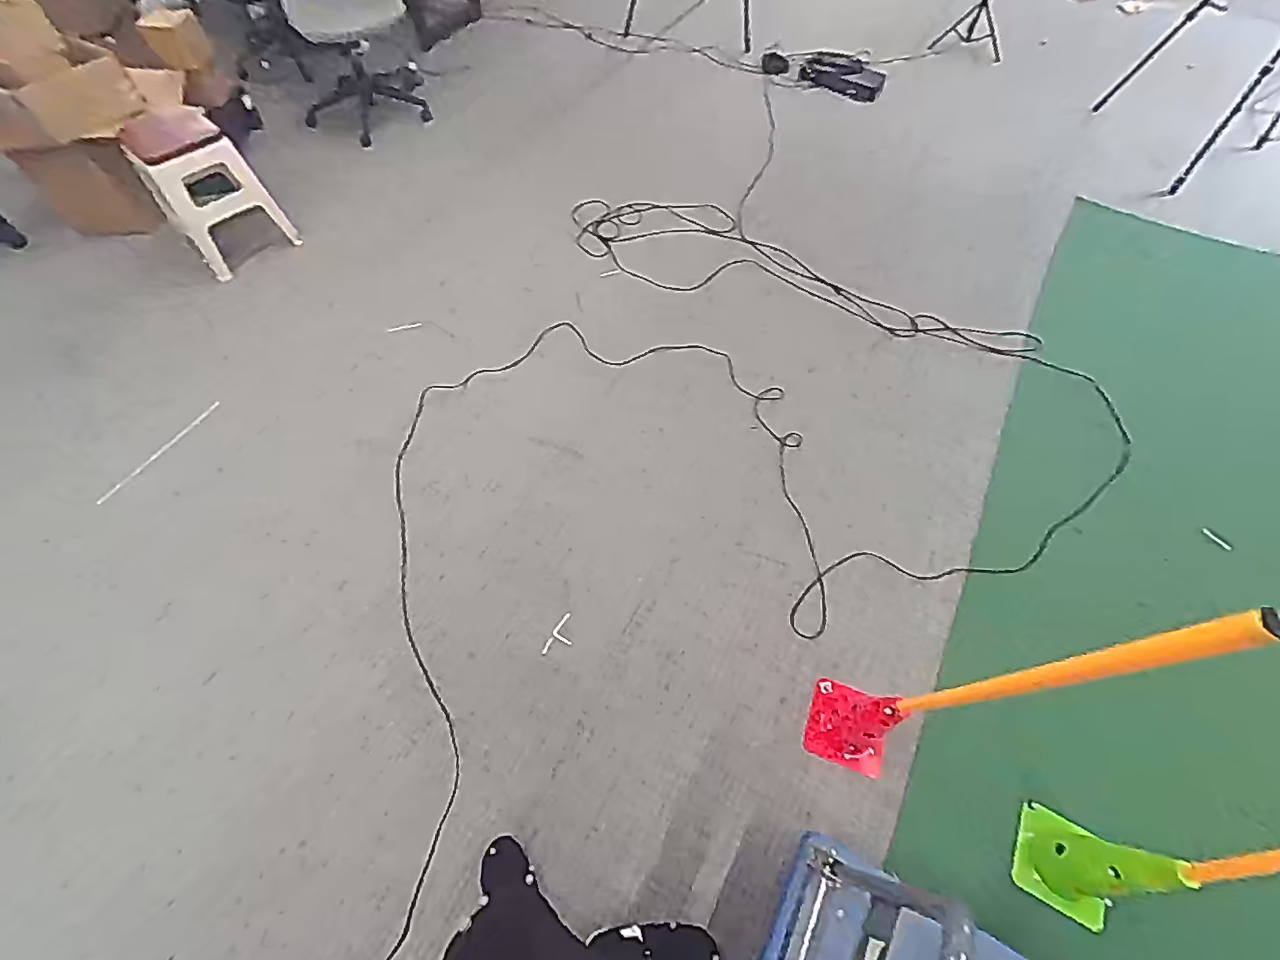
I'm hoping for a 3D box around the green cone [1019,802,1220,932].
[{"bbox_3d":[1.011,0.817,1.126,0.202,0.368,0.200,27,62,13],"label":"green cone"}]
